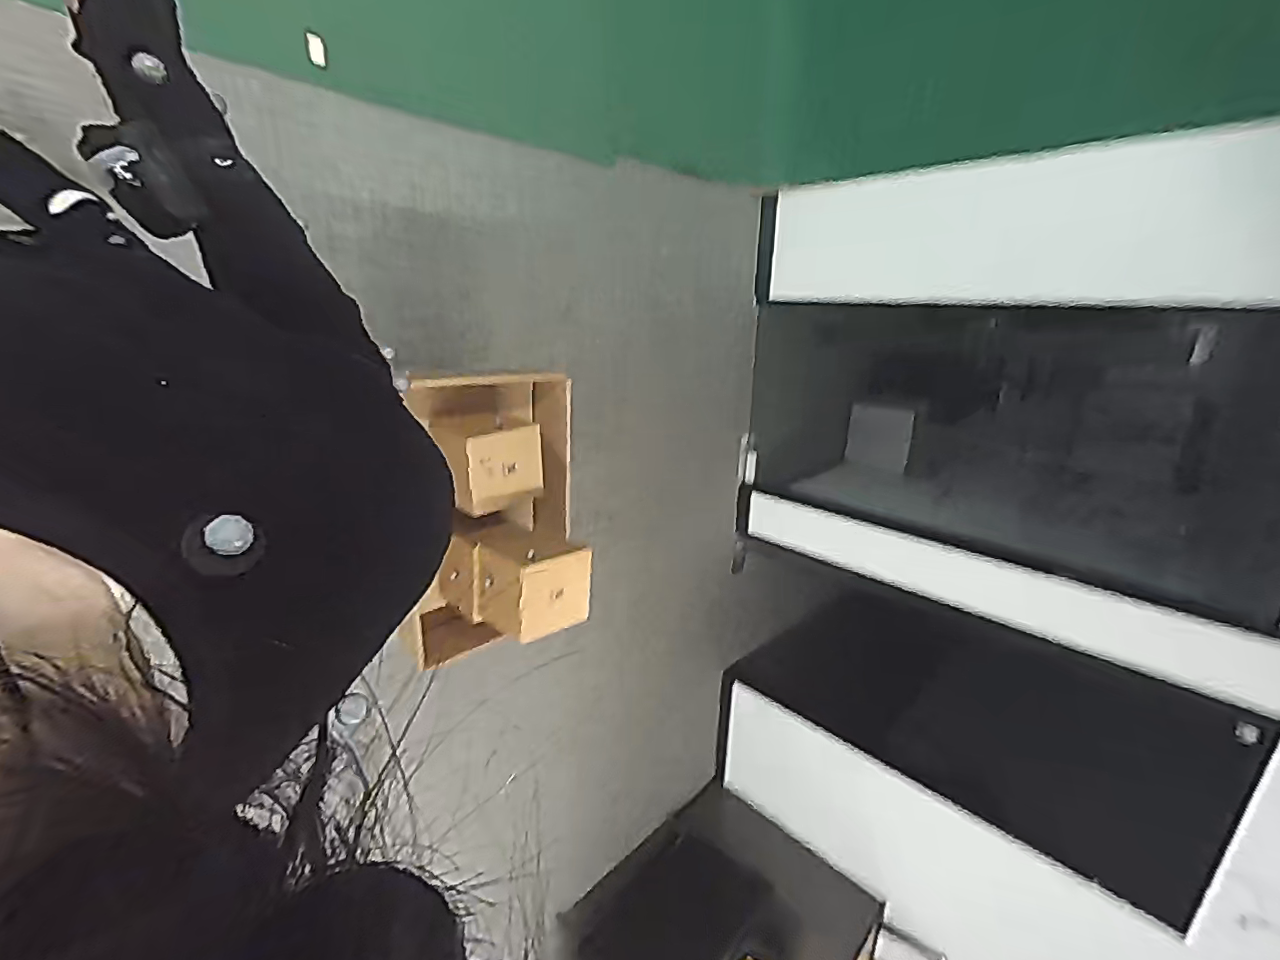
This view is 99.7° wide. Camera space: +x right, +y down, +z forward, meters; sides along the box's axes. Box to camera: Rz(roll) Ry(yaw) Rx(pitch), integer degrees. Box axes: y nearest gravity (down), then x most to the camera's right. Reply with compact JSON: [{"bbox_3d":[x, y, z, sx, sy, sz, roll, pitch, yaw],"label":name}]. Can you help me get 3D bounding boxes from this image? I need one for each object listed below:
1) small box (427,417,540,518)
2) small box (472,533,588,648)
[{"bbox_3d":[-0.340,-0.036,1.182,0.179,0.176,0.168,-18,116,-42],"label":"small box"},{"bbox_3d":[-0.233,0.222,1.145,0.179,0.176,0.168,-9,109,-45],"label":"small box"}]
